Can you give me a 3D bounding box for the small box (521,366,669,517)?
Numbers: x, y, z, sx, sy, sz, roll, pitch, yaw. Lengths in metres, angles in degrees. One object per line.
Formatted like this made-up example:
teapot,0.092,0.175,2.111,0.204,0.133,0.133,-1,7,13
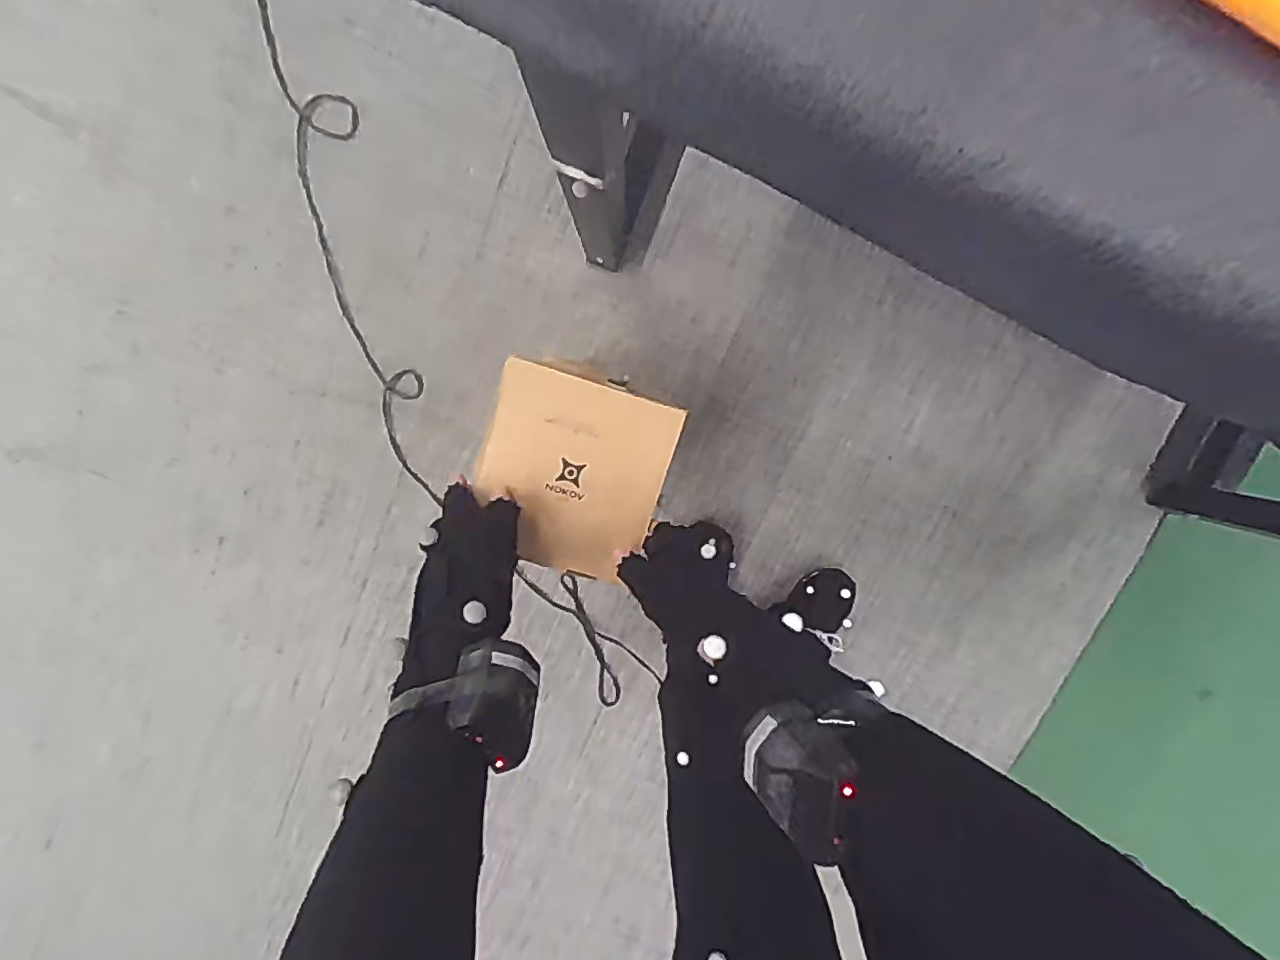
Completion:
small box,-0.071,-0.070,0.885,0.168,0.176,0.179,30,99,-6
